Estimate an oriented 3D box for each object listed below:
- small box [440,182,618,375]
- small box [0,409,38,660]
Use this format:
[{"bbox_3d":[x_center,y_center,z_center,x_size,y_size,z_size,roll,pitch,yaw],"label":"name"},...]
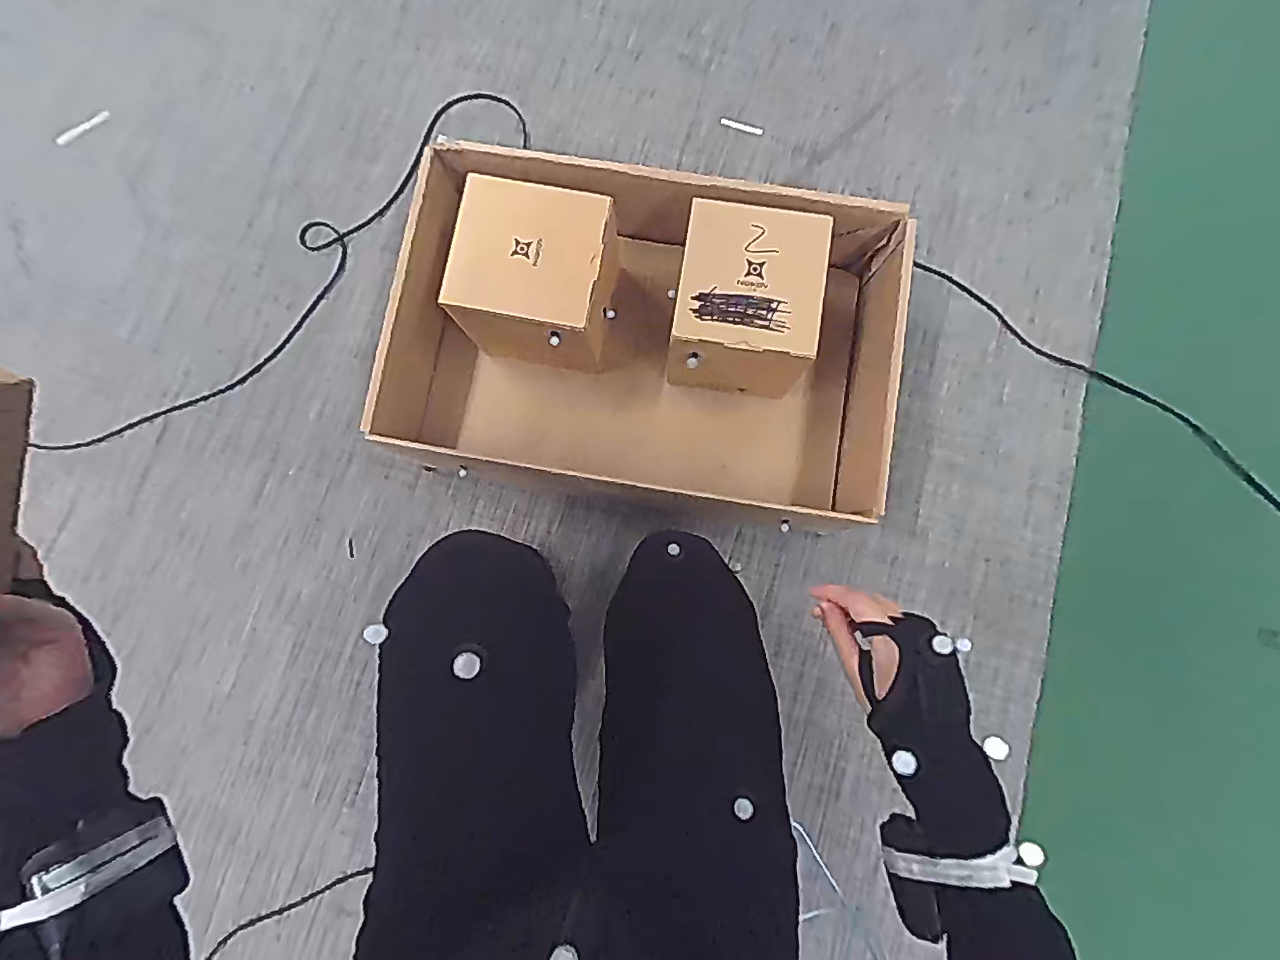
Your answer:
[{"bbox_3d":[-0.130,-0.249,0.707,0.179,0.176,0.168,10,83,1],"label":"small box"},{"bbox_3d":[-0.406,0.027,0.208,0.168,0.176,0.179,21,103,-9],"label":"small box"}]
